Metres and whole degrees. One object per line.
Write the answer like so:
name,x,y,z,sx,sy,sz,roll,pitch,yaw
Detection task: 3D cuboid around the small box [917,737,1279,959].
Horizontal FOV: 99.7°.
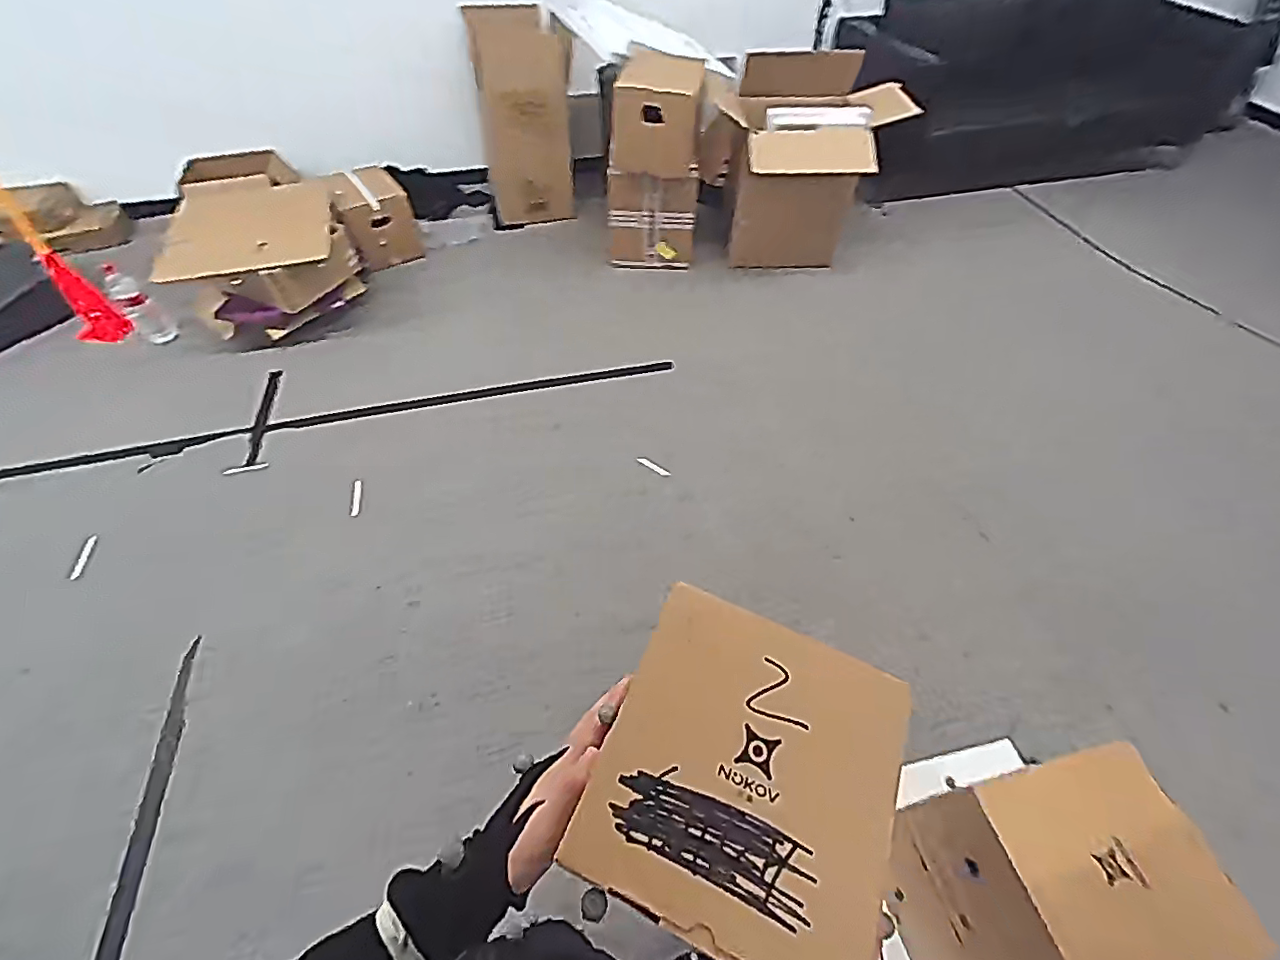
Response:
small box,0.401,0.373,0.521,0.179,0.176,0.168,-10,53,-10

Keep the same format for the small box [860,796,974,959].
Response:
small box,0.401,0.472,0.650,0.179,0.176,0.168,-11,52,-9
